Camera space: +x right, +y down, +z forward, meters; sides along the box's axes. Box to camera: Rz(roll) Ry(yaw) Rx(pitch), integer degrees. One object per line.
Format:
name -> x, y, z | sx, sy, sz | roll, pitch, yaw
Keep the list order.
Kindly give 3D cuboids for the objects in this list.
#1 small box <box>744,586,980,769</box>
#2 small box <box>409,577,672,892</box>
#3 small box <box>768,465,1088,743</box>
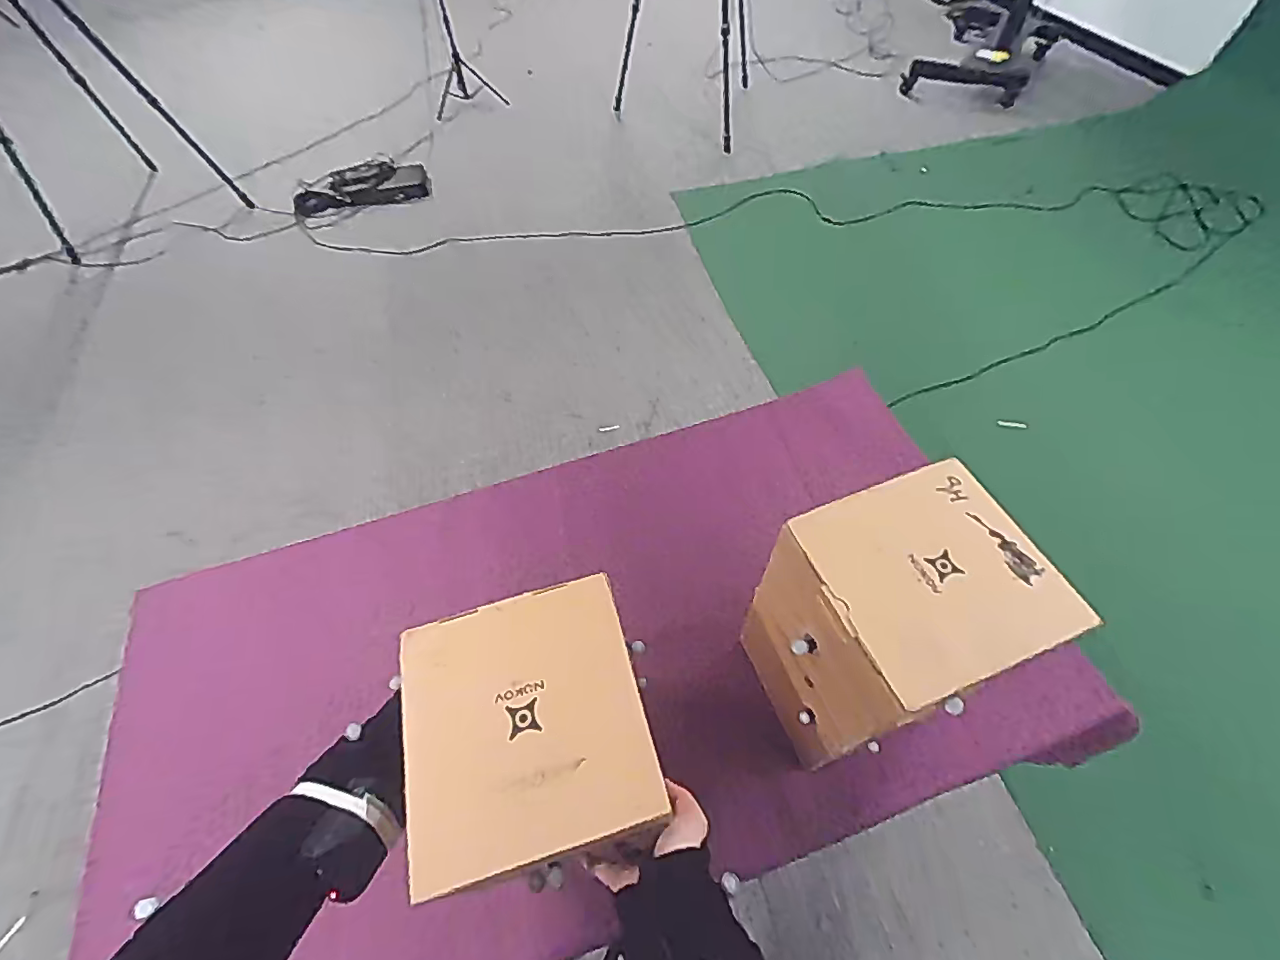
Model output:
small box -> 0.237, 0.212, 0.635 | 0.168, 0.176, 0.179 | -18, 57, -10
small box -> -0.077, 0.211, 0.448 | 0.168, 0.176, 0.179 | -15, 55, -7
small box -> 0.232, 0.120, 0.498 | 0.179, 0.176, 0.168 | -19, 57, -10
